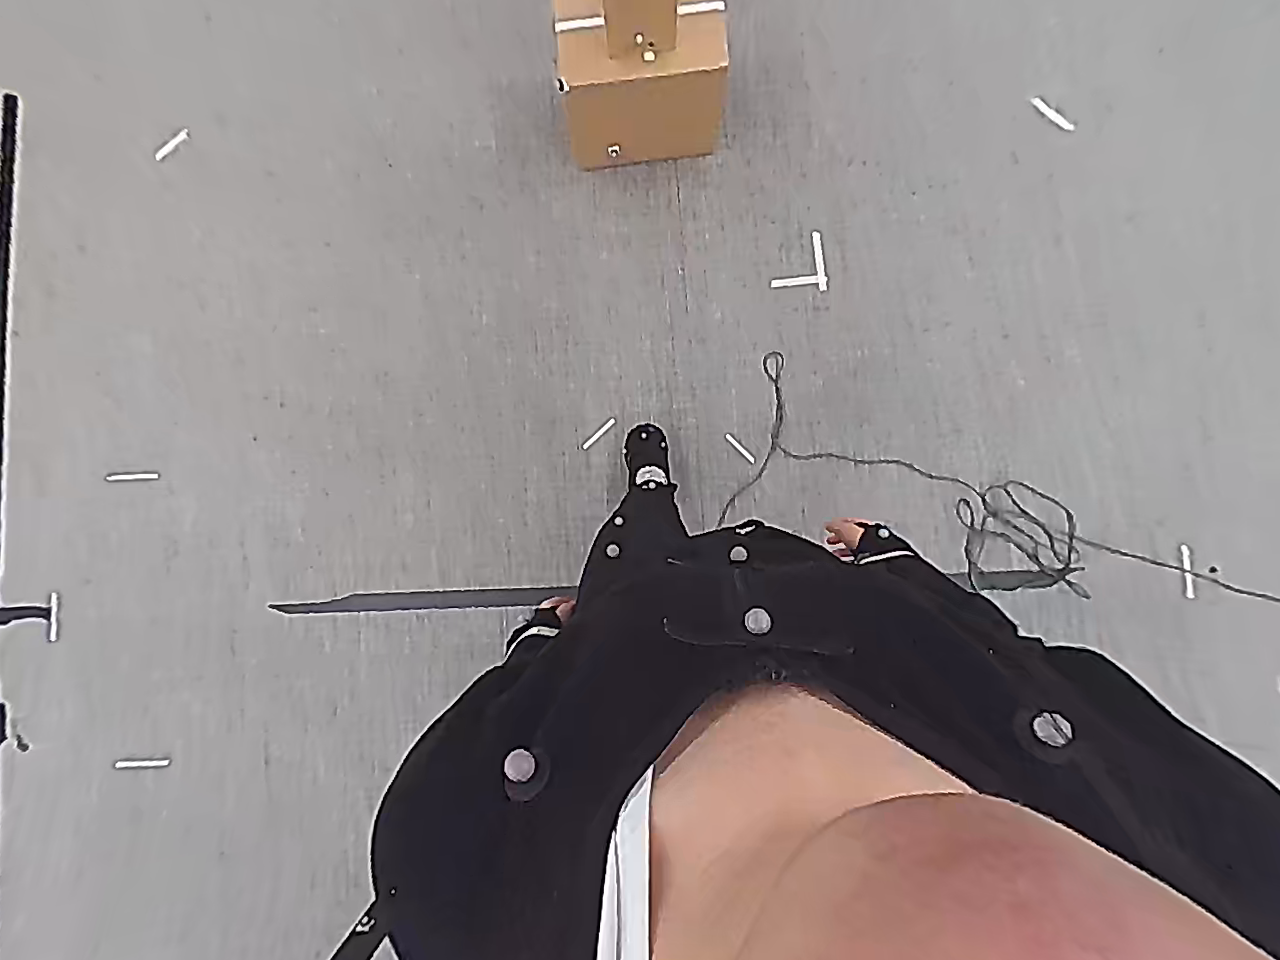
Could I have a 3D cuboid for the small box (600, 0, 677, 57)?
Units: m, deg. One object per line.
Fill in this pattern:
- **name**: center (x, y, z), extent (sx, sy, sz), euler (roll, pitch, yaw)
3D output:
- **small box**: center (-0.009, -1.103, 1.211), extent (0.168, 0.176, 0.179), euler (-6, 86, 1)
